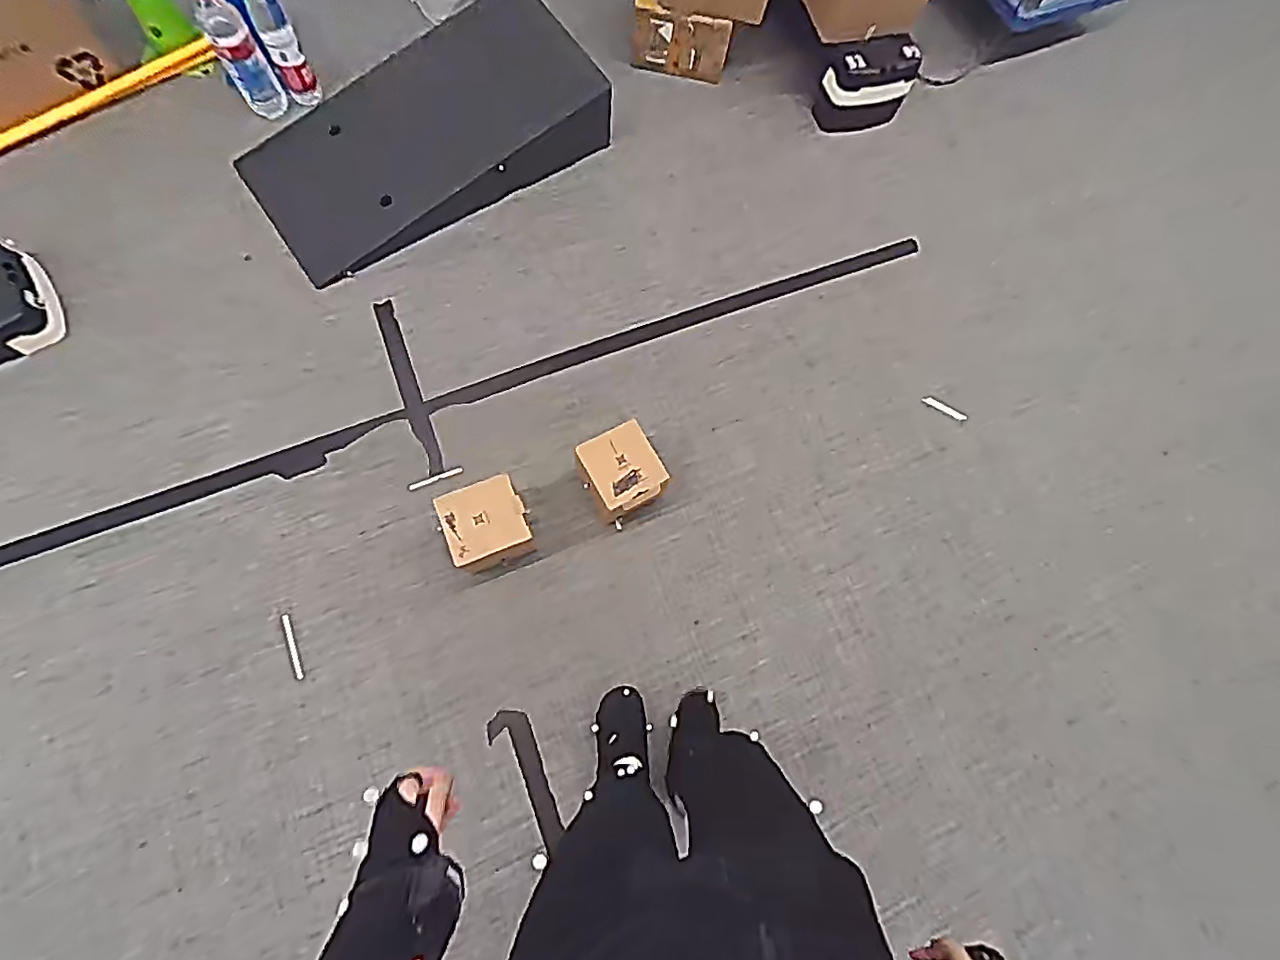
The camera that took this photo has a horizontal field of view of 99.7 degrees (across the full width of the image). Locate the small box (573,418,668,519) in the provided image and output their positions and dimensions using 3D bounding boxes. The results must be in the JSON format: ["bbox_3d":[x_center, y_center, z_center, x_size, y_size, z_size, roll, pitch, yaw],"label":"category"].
[{"bbox_3d":[-0.050,-0.018,1.325,0.168,0.176,0.179,-28,79,-12],"label":"small box"}]

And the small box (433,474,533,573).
[{"bbox_3d":[-0.355,0.106,1.259,0.179,0.176,0.168,-20,78,-12],"label":"small box"}]
